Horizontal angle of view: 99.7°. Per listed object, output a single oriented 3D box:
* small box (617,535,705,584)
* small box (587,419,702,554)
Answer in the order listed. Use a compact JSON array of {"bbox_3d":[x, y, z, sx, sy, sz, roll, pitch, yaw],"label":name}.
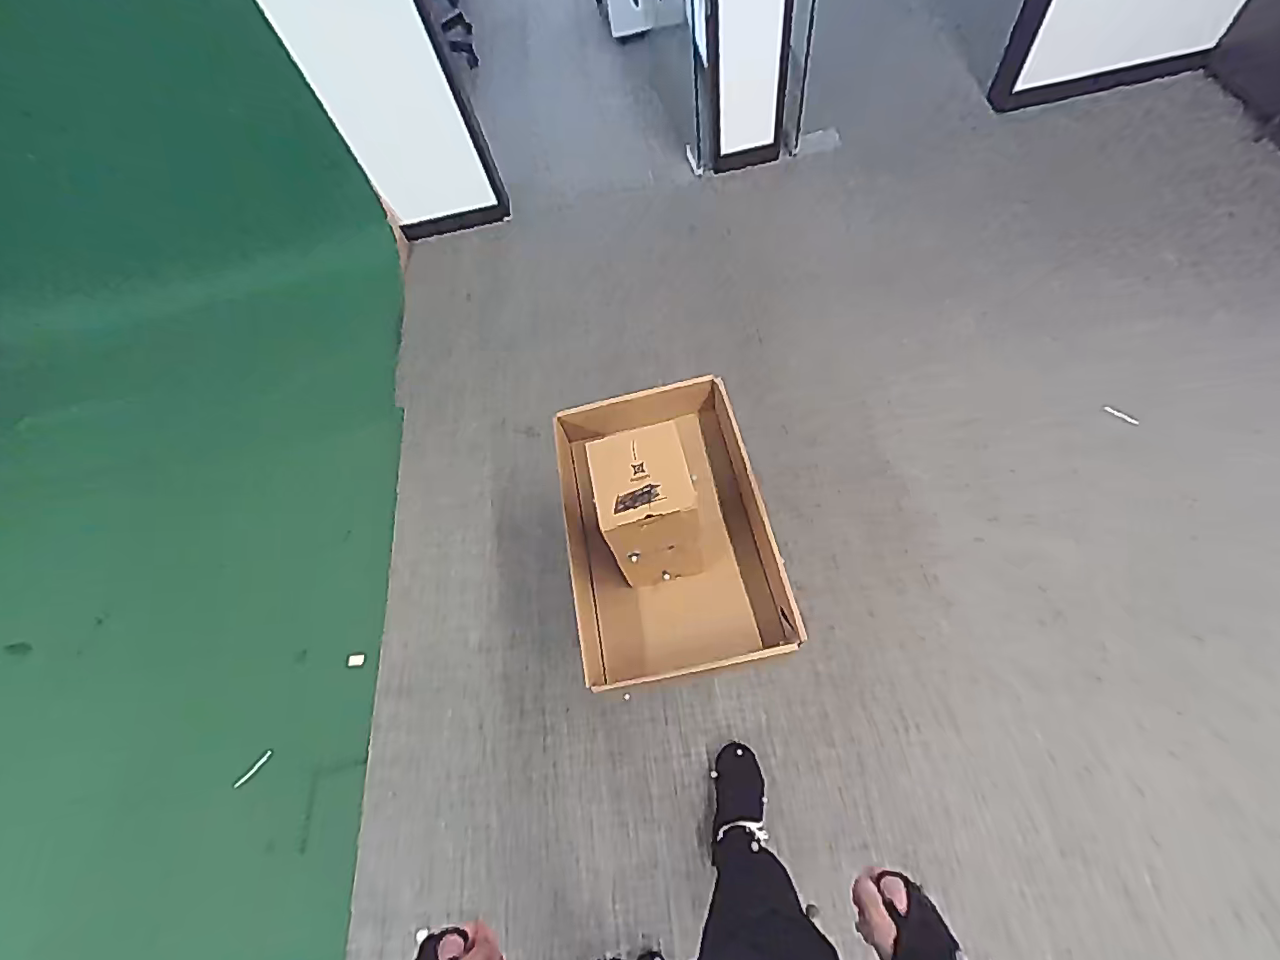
[{"bbox_3d":[0.037,0.096,1.120,0.168,0.176,0.179,-12,62,3],"label":"small box"},{"bbox_3d":[0.013,0.022,0.976,0.168,0.176,0.179,-14,61,2],"label":"small box"}]
